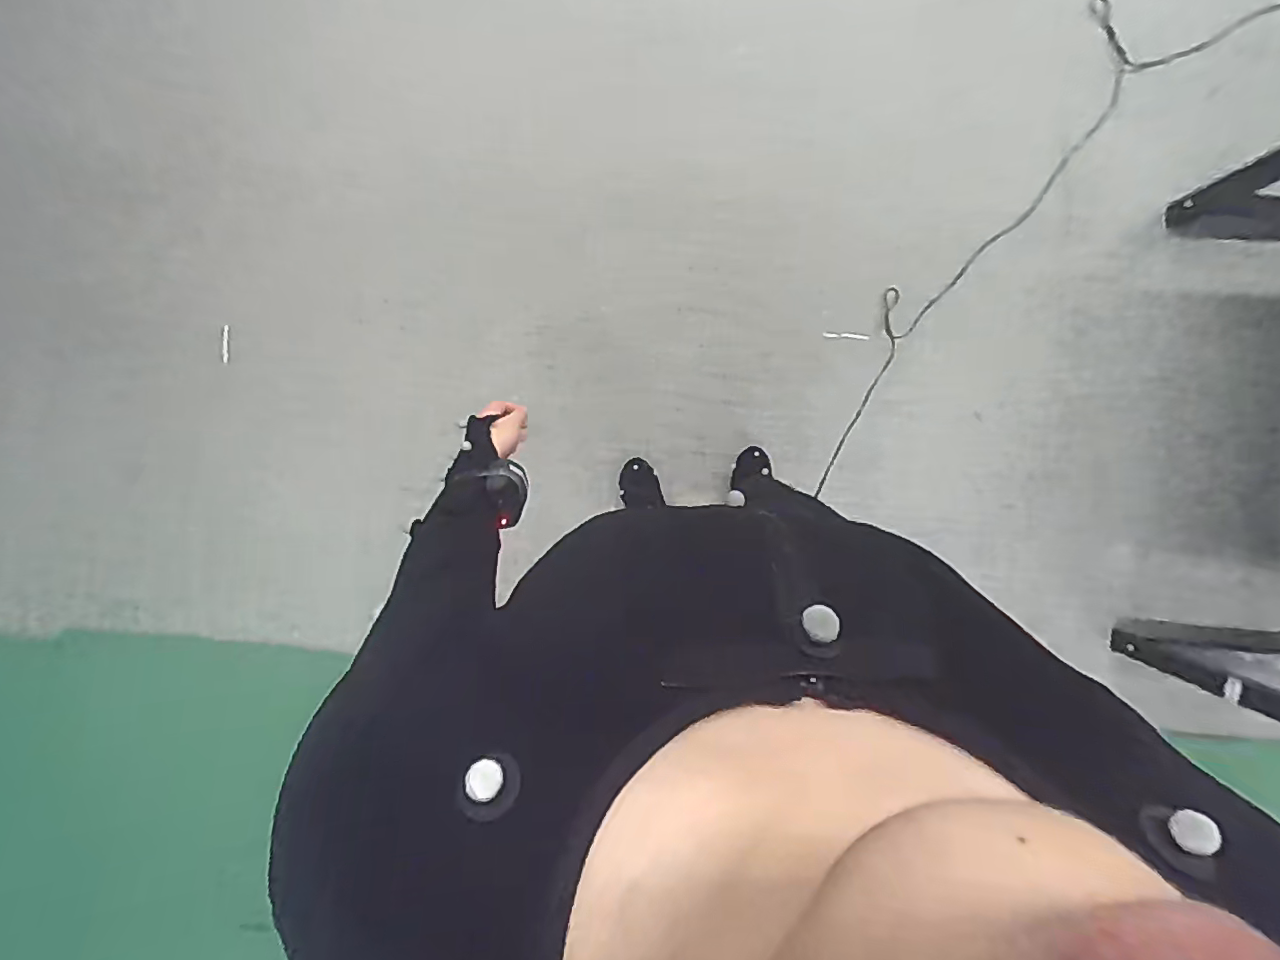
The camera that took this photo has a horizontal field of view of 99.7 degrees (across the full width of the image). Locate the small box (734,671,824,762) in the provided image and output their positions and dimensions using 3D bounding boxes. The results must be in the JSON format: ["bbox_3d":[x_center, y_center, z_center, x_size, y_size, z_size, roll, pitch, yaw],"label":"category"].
[{"bbox_3d":[0.343,0.597,1.362,0.179,0.176,0.168,7,91,2],"label":"small box"}]
